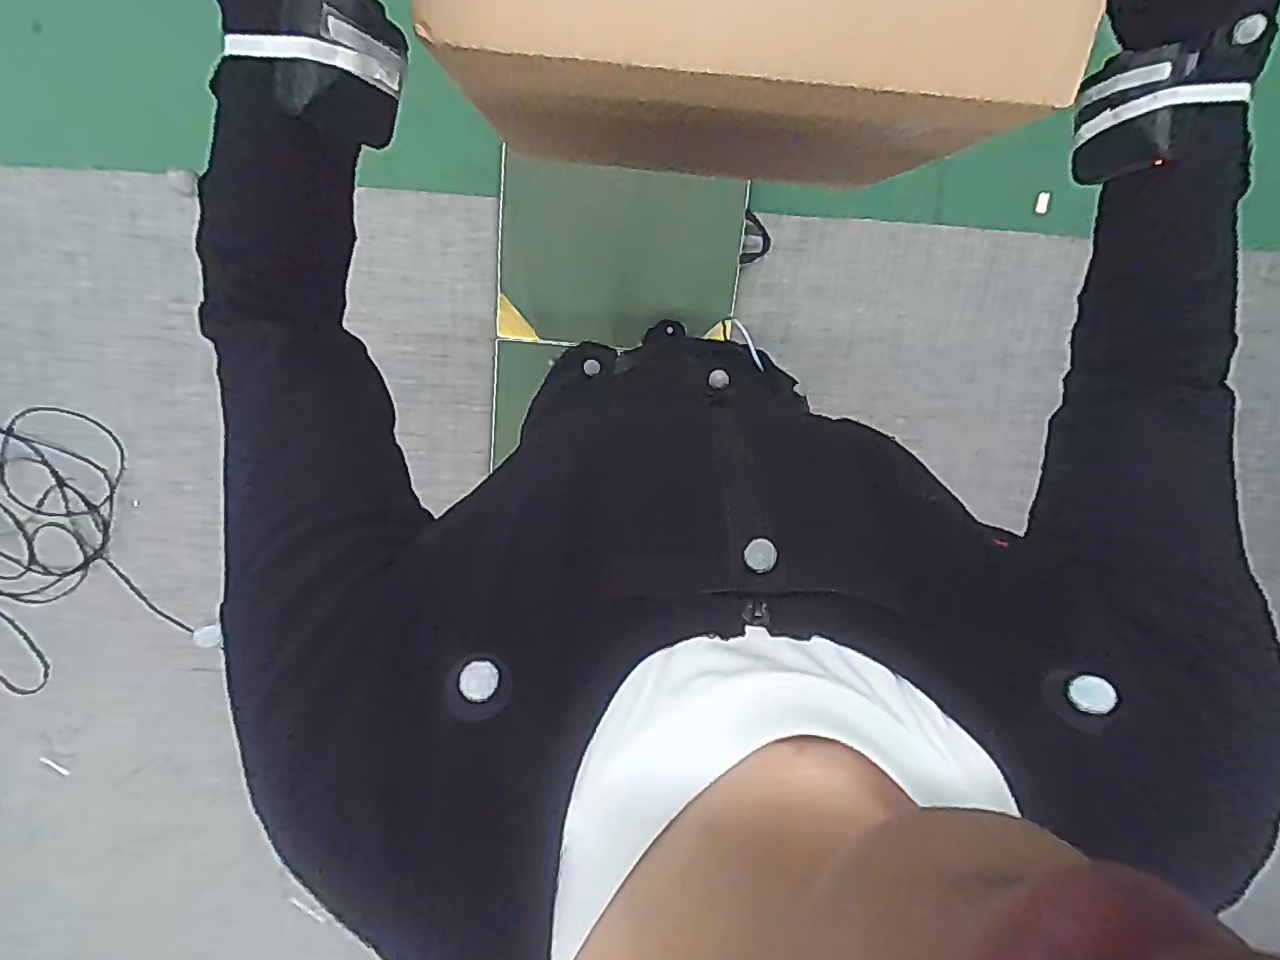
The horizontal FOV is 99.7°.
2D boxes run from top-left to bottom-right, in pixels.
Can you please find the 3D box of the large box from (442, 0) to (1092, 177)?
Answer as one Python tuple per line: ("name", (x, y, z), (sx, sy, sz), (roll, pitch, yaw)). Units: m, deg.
("large box", (0.078, -0.450, 0.424), (0.408, 0.320, 0.320), (3, 110, -4))
